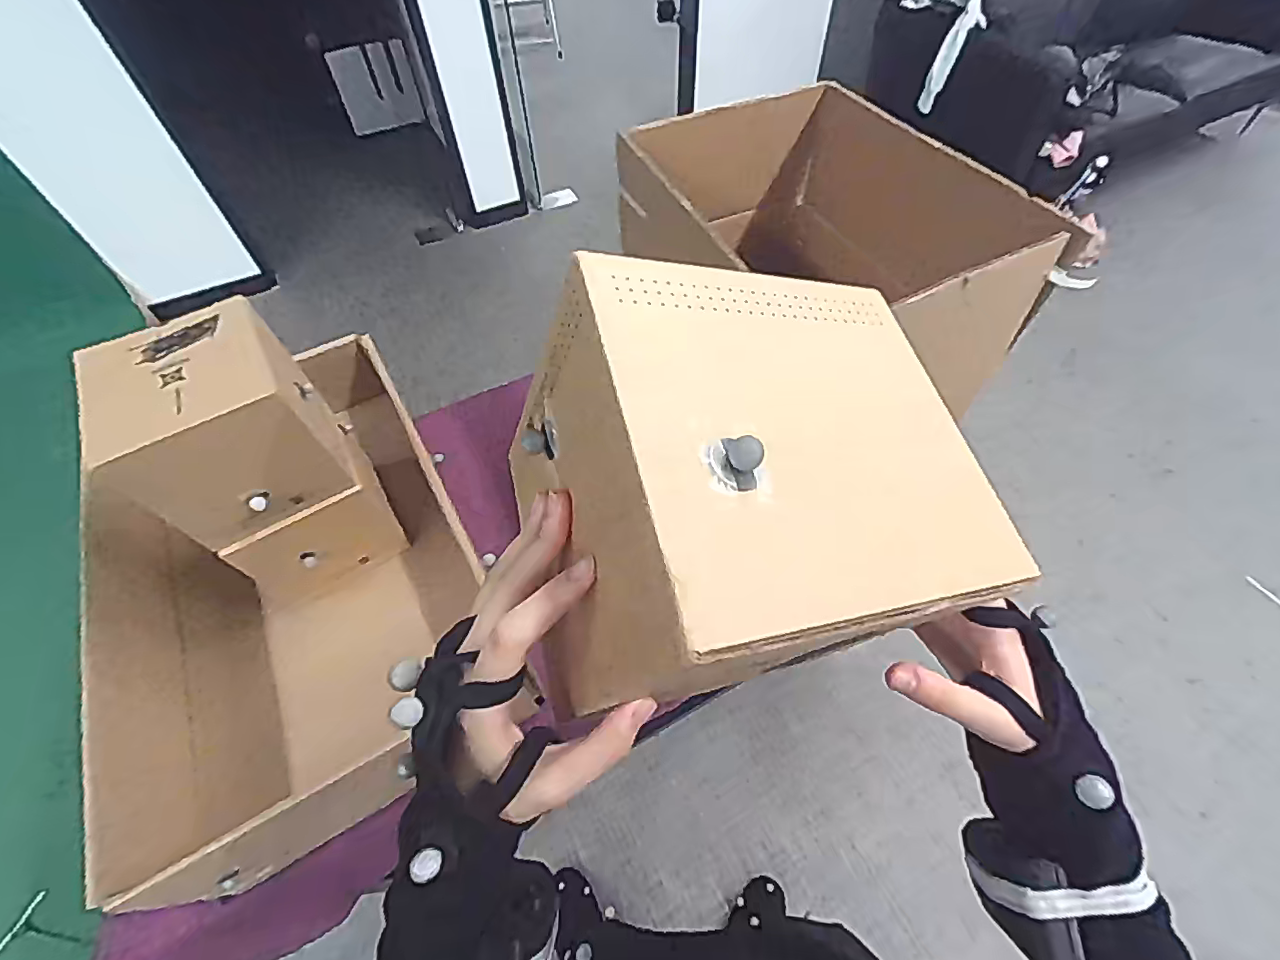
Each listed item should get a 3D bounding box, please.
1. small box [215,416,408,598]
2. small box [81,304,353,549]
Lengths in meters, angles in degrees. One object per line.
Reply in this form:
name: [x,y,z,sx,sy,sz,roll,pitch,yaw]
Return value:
small box: [-0.447,0.040,0.737,0.168,0.176,0.179,-30,60,-16]
small box: [-0.457,-0.055,0.603,0.168,0.176,0.179,-29,61,-15]
